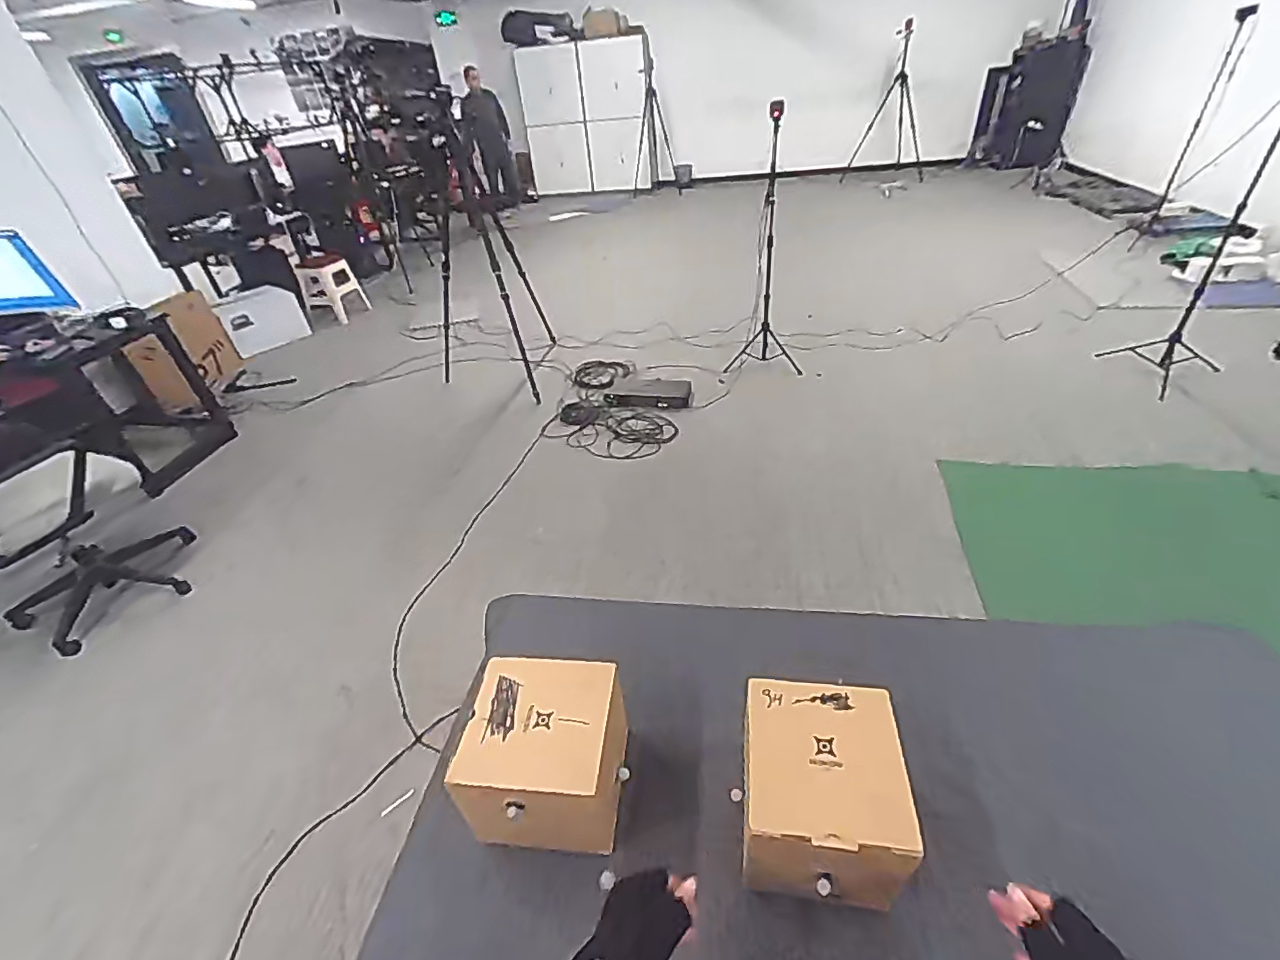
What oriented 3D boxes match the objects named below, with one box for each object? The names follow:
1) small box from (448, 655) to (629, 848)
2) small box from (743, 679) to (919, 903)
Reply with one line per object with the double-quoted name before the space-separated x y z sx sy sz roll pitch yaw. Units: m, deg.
"small box" -0.116 0.351 0.703 0.179 0.176 0.168 1 38 8
"small box" 0.210 0.366 0.641 0.168 0.176 0.179 2 38 10
